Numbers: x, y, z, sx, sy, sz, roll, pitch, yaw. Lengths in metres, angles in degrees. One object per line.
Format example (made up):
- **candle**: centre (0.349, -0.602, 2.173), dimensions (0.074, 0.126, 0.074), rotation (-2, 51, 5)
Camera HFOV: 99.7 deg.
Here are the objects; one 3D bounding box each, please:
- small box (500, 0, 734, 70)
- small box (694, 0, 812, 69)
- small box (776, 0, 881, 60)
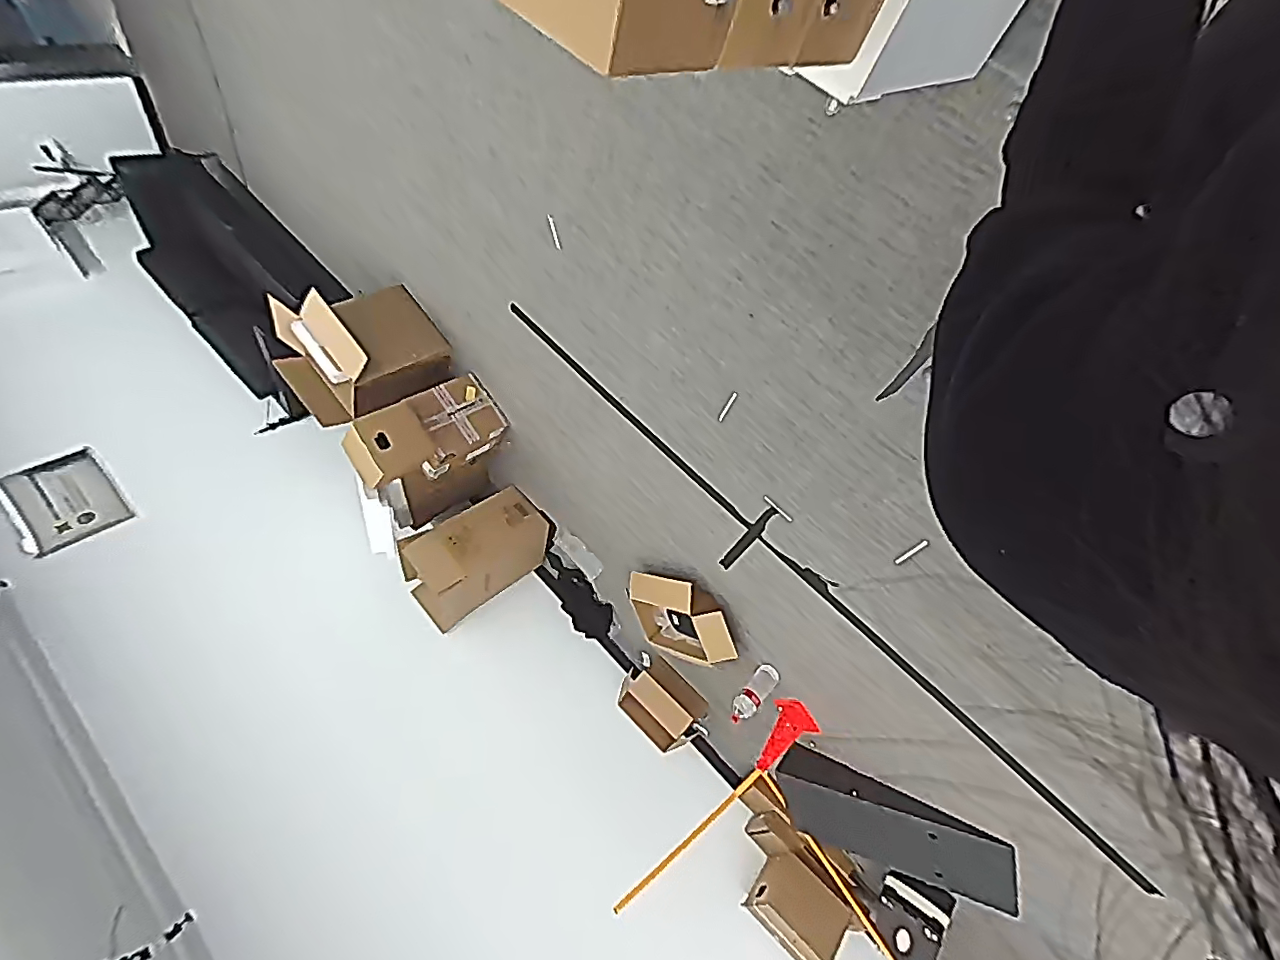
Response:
- **small box**: centre (-0.016, -0.495, 0.473), dimensions (0.179, 0.176, 0.168), rotation (43, 145, 15)
- **small box**: centre (0.094, -0.570, 0.566), dimensions (0.179, 0.176, 0.168), rotation (44, 144, 15)
- **small box**: centre (0.201, -0.649, 0.659), dimensions (0.179, 0.176, 0.168), rotation (46, 145, 14)
